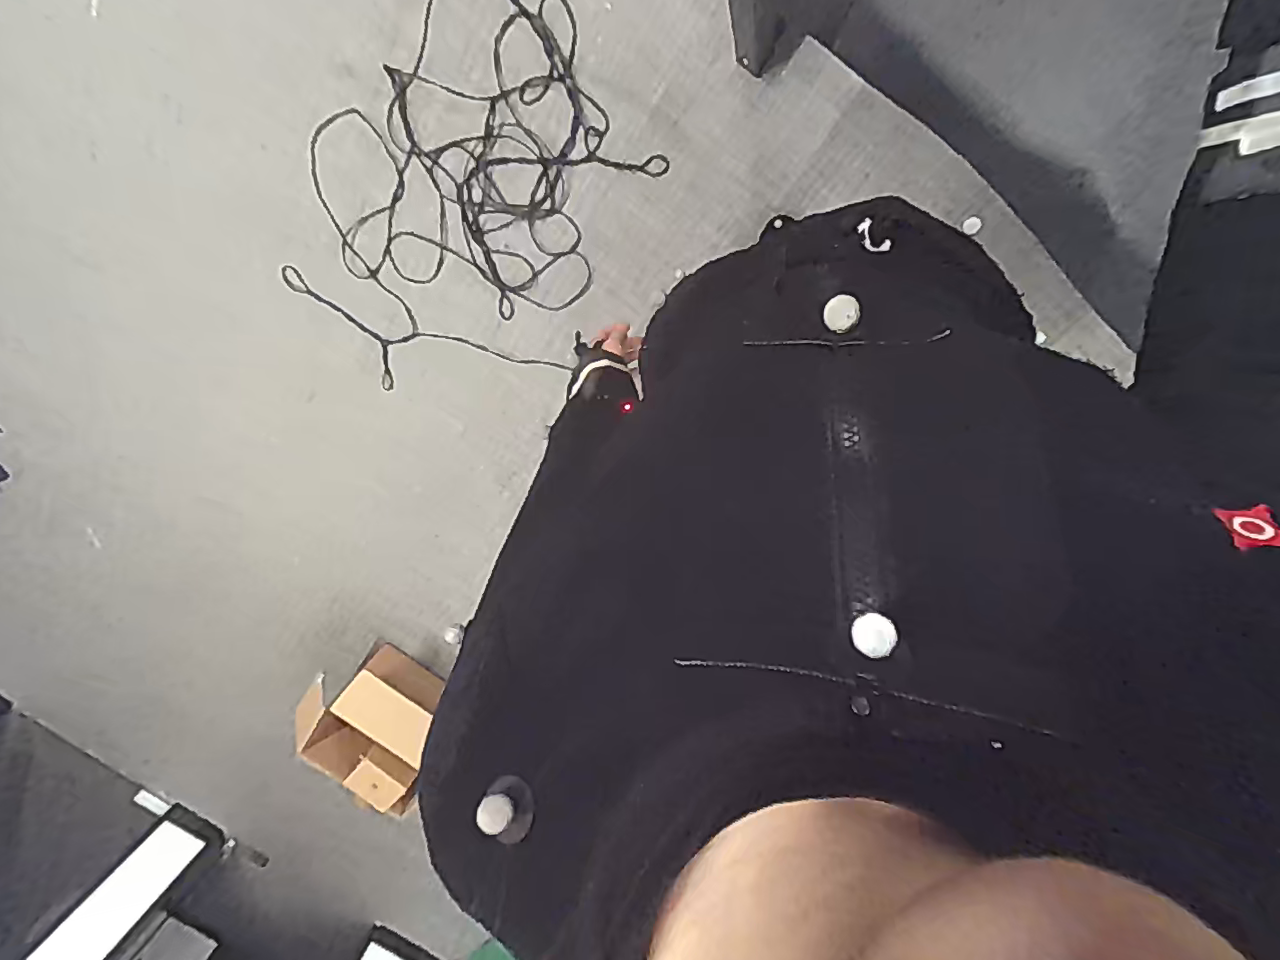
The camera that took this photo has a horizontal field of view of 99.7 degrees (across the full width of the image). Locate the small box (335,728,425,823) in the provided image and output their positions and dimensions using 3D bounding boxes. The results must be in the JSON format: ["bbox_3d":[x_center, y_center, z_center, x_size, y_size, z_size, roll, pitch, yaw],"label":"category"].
[{"bbox_3d":[-0.831,0.950,1.747,0.168,0.176,0.179,40,112,-6],"label":"small box"}]
